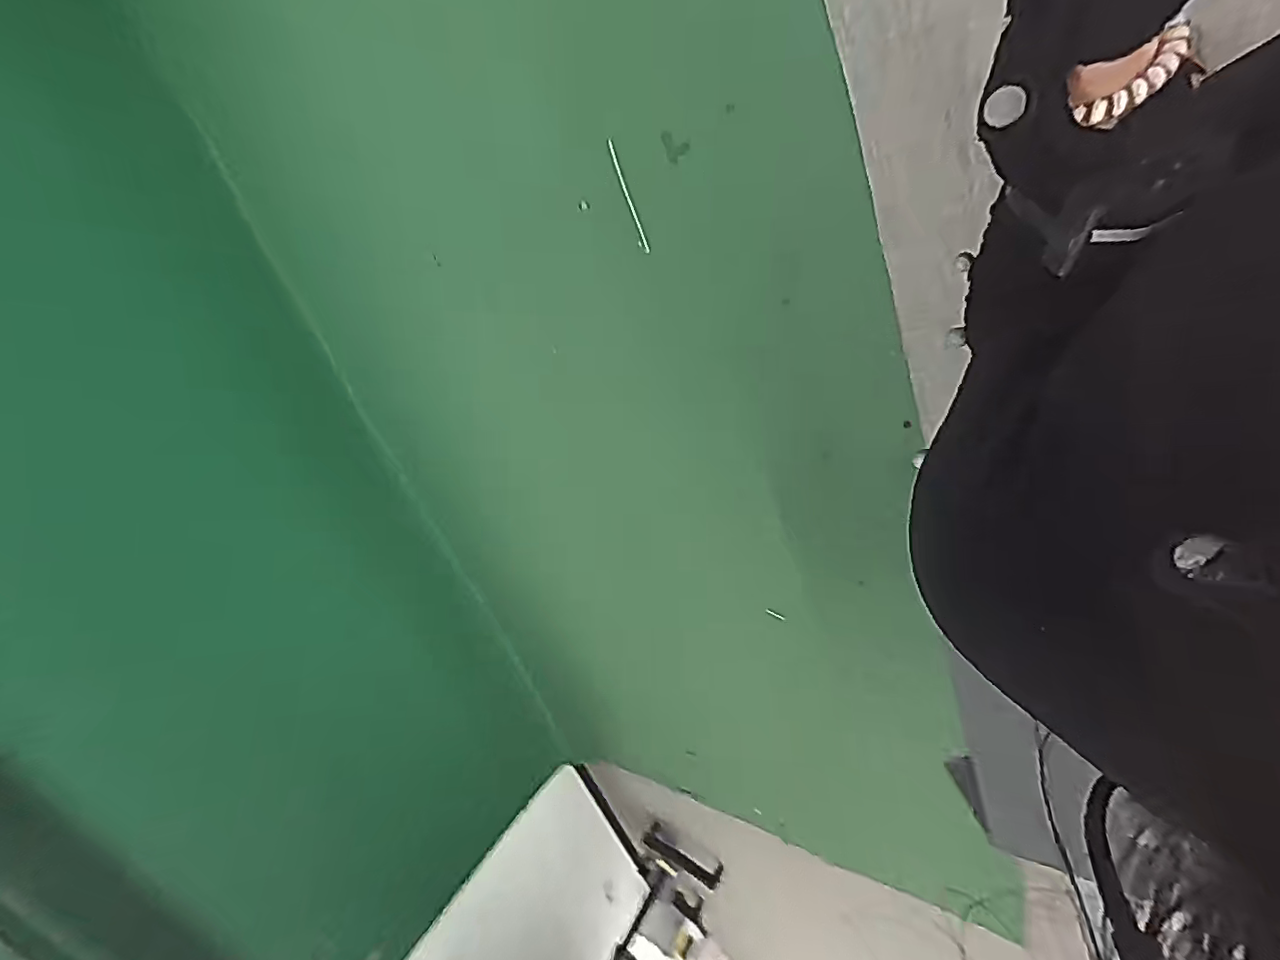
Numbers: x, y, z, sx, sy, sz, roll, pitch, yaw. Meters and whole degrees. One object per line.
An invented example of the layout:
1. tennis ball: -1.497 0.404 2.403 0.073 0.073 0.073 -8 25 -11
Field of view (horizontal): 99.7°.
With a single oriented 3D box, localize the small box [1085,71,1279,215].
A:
1. small box: 0.913 -0.577 0.922 0.179 0.176 0.168 45 155 37
